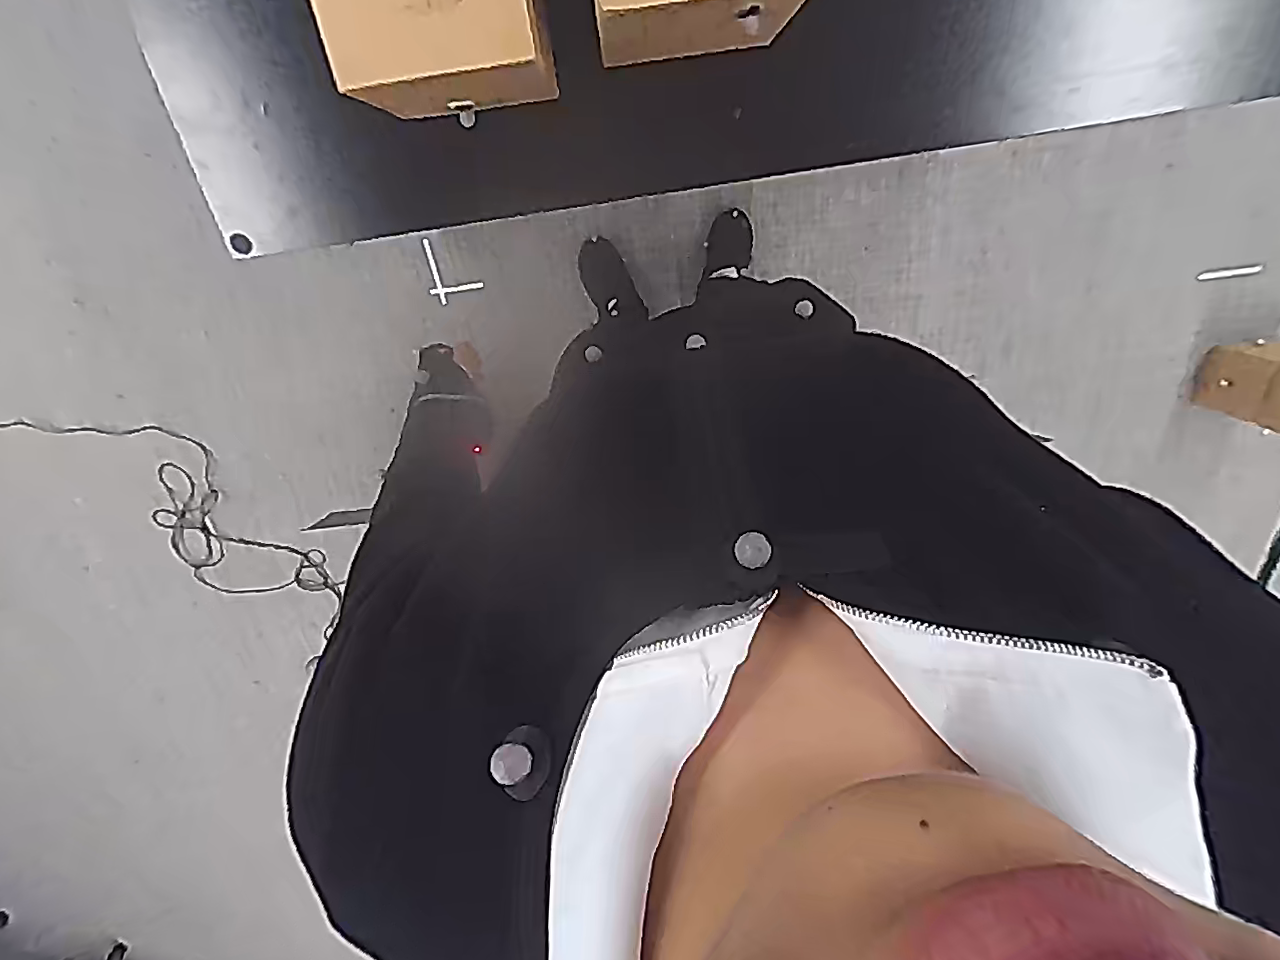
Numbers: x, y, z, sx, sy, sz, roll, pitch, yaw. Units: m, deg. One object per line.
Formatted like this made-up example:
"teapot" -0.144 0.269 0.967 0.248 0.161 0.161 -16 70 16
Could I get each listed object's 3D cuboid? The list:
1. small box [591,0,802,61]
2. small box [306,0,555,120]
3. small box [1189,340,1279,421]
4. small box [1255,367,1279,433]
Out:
"small box" 0.039 -0.474 0.446 0.179 0.176 0.168 -7 116 1
"small box" -0.176 -0.433 0.461 0.168 0.176 0.179 -8 117 3
"small box" 1.621 -0.263 1.418 0.179 0.176 0.168 -5 116 1
"small box" 1.633 -0.188 1.269 0.168 0.176 0.179 -6 117 1
